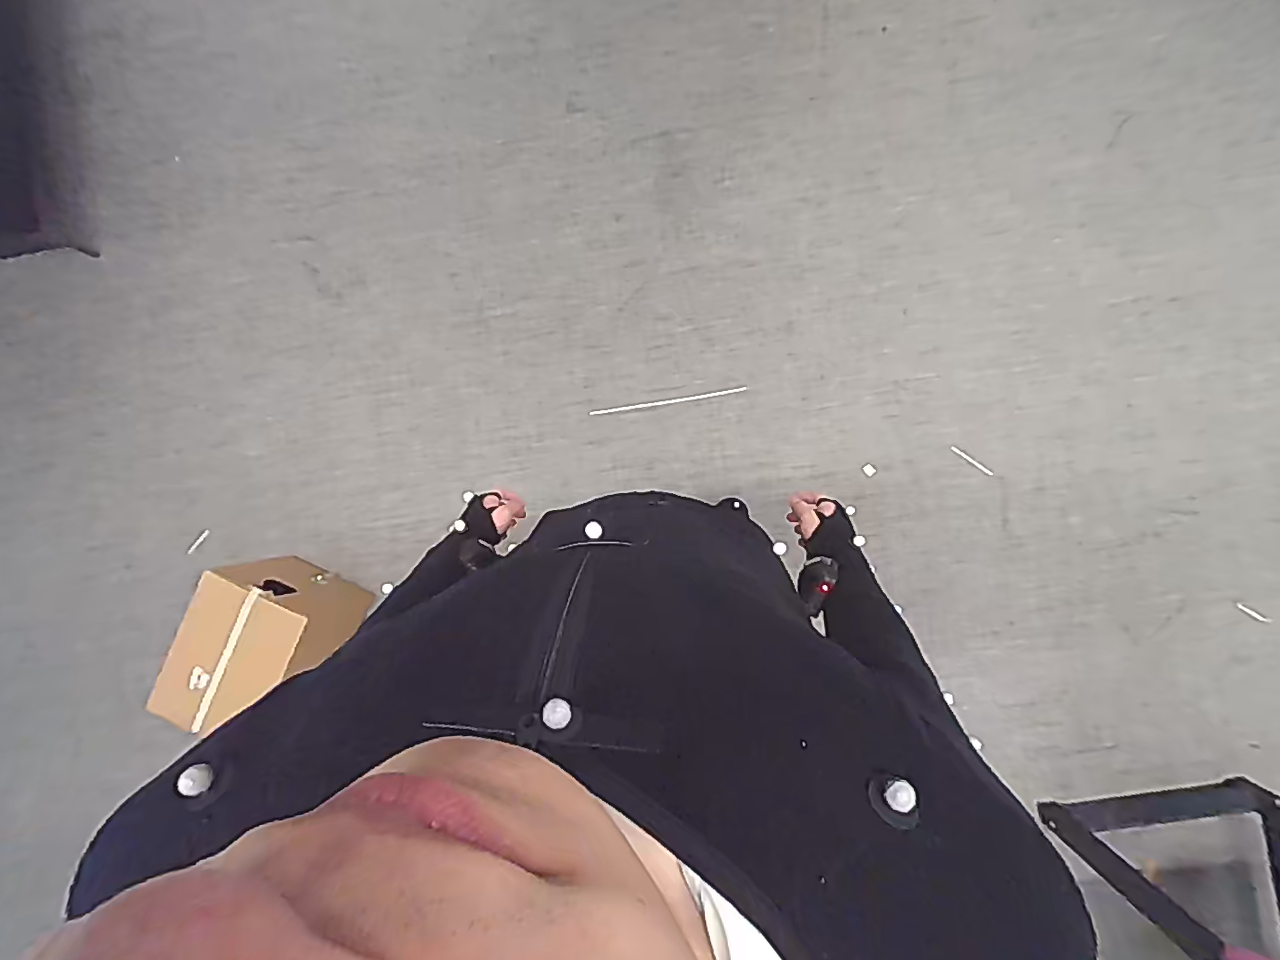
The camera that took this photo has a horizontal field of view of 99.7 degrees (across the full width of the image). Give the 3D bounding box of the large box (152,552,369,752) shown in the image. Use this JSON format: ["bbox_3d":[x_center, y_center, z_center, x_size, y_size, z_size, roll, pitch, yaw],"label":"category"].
[{"bbox_3d":[-1.059,0.464,1.551,0.320,0.320,0.408,24,92,4],"label":"large box"}]
